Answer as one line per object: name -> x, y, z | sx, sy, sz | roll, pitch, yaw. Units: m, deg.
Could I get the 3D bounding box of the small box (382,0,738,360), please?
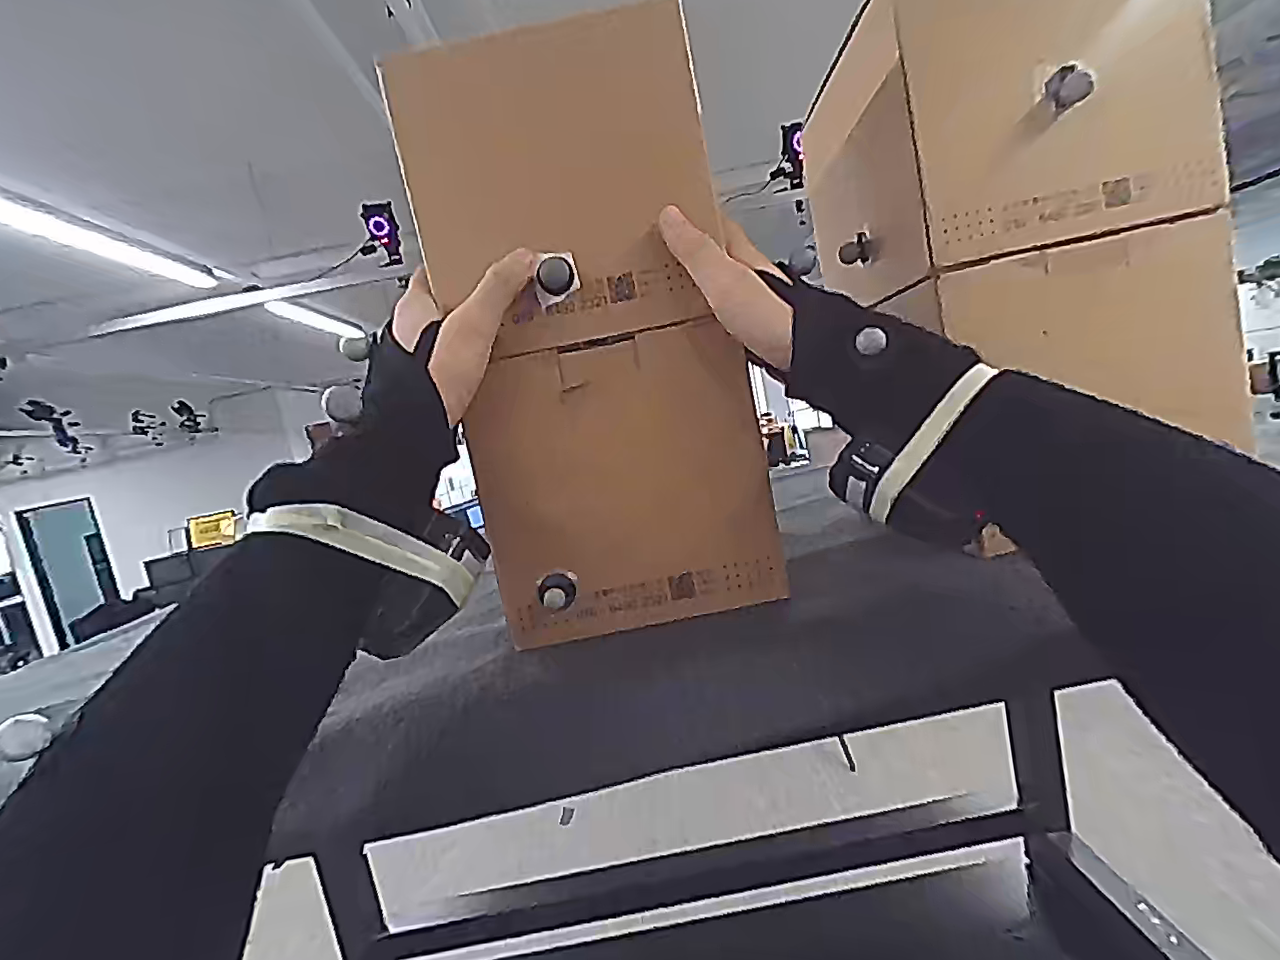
small box -> -0.040, -0.168, 0.370 | 0.168, 0.176, 0.179 | -13, 7, 1

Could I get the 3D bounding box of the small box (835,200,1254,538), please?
small box -> 0.260, -0.063, 0.387 | 0.168, 0.176, 0.179 | -13, 5, 1

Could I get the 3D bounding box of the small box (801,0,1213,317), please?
small box -> 0.228, -0.223, 0.373 | 0.168, 0.176, 0.179 | -11, 6, 2

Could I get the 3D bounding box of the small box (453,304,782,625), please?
small box -> -0.009, -0.007, 0.385 | 0.168, 0.176, 0.179 | -11, 5, 0
